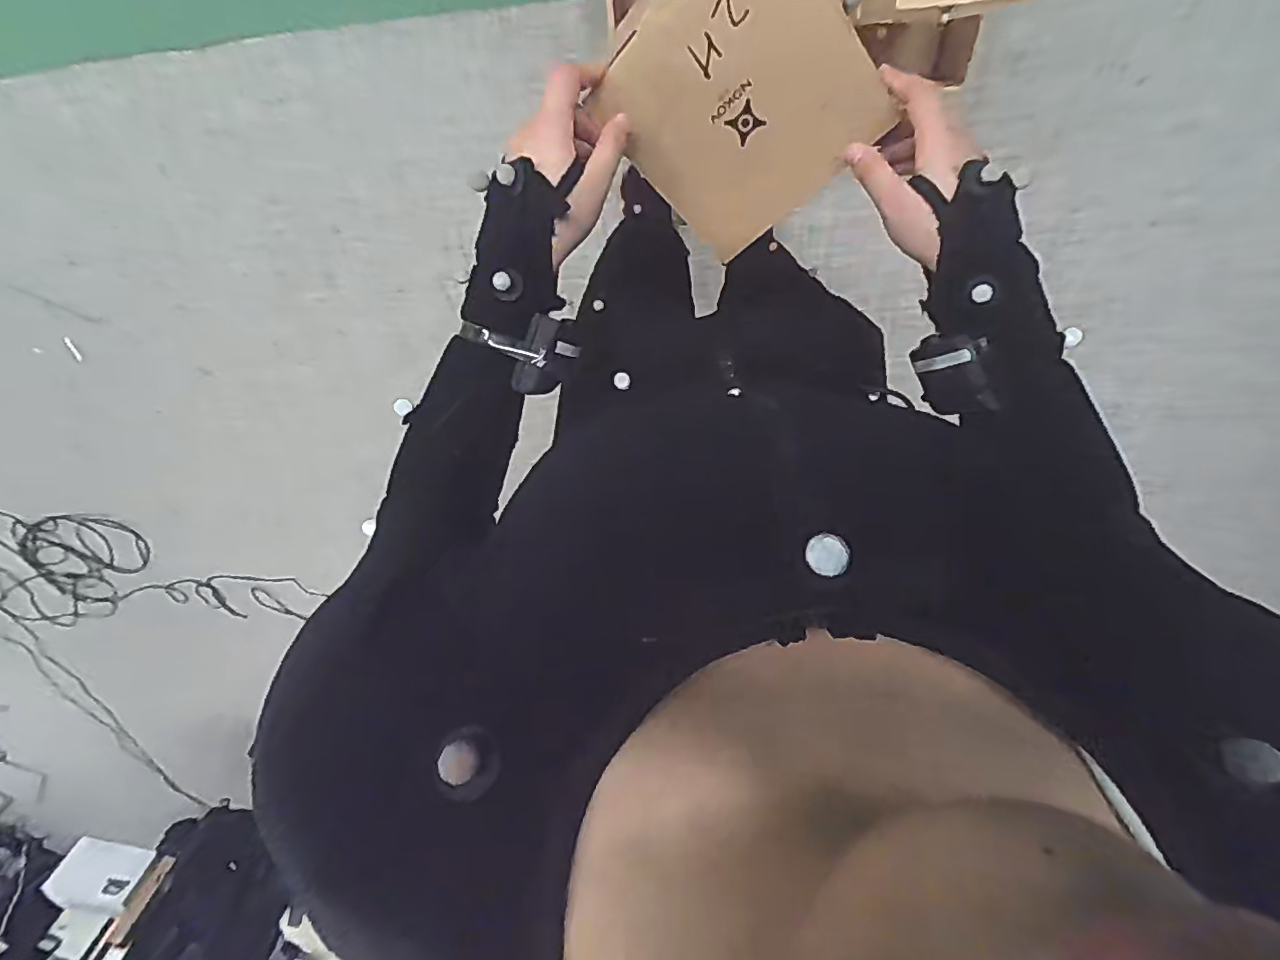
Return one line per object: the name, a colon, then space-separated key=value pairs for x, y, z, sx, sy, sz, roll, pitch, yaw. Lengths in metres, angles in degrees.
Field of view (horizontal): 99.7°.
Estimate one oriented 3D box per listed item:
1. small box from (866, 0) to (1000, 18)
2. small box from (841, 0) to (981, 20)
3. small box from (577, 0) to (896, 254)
small box: x=0.364 y=-0.648 z=0.605 sx=0.168 sy=0.176 sz=0.179 roll=-1 pitch=126 yaw=7
small box: x=0.378 y=-0.748 z=0.735 sx=0.168 sy=0.176 sz=0.179 roll=2 pitch=129 yaw=6
small box: x=0.076 y=-0.335 z=0.440 sx=0.179 sy=0.176 sz=0.168 roll=34 pitch=132 yaw=-31
